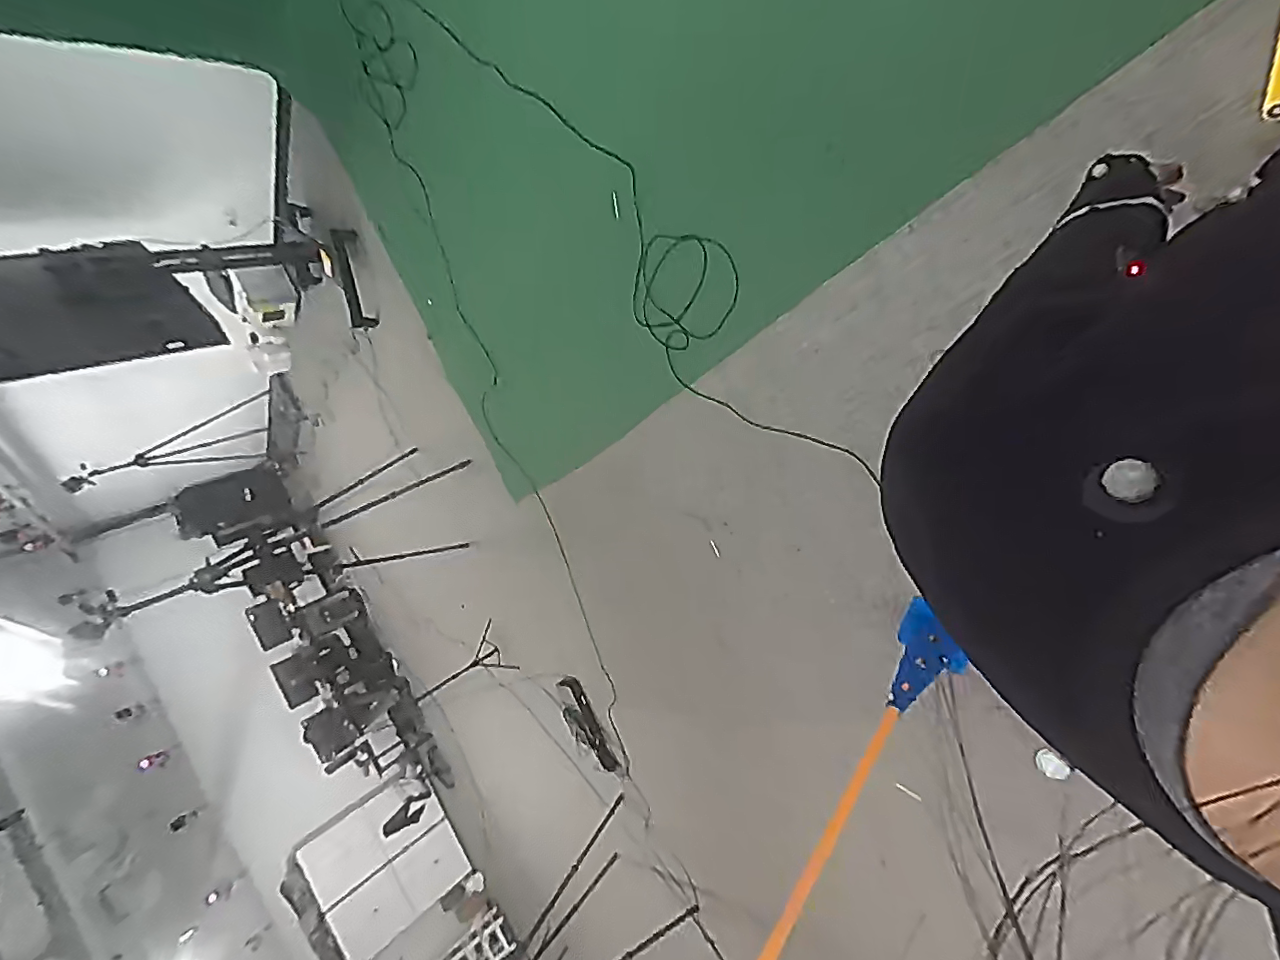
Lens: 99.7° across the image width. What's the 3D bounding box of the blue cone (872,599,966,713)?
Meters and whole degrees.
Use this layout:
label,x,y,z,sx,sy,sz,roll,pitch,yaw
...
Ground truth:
label,x,y,z,sx,sy,sz,roll,pitch,yaw
blue cone,0.765,0.531,1.541,0.192,0.380,0.193,27,131,33
